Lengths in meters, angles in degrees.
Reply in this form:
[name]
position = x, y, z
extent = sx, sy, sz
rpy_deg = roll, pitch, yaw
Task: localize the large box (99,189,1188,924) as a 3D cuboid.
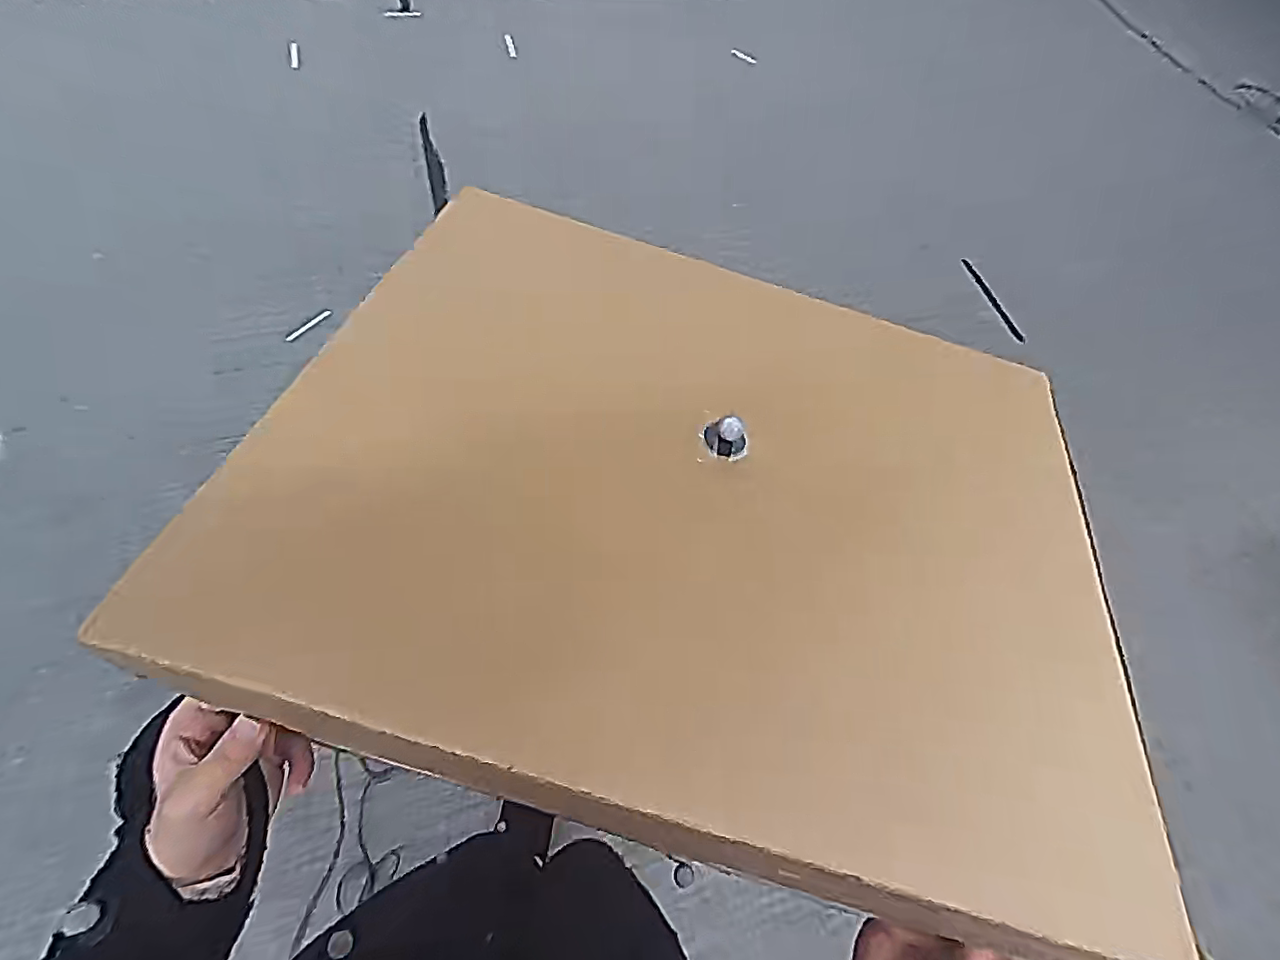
[large box]
position = 0.009, 0.056, 0.392
extent = 0.408, 0.320, 0.320
rpy_deg = 16, 58, 0
